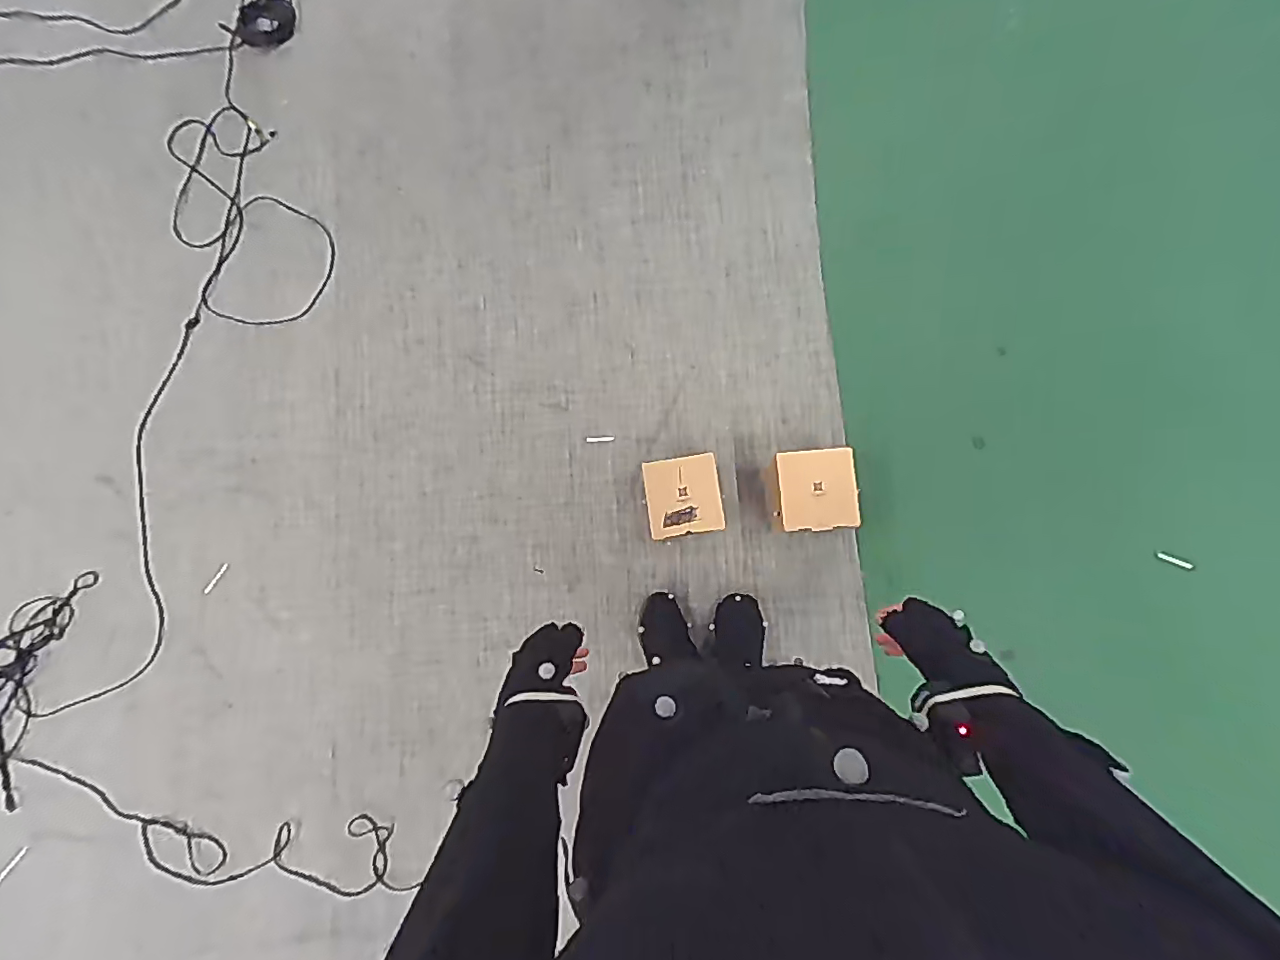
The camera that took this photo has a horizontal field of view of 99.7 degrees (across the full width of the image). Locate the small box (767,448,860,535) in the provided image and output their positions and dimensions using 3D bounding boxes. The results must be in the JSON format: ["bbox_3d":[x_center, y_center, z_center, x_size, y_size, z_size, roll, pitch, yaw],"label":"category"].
[{"bbox_3d":[0.395,0.033,1.260,0.168,0.176,0.179,-5,82,5],"label":"small box"}]

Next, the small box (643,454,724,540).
[{"bbox_3d":[0.104,0.048,1.282,0.168,0.176,0.179,-8,80,3],"label":"small box"}]
